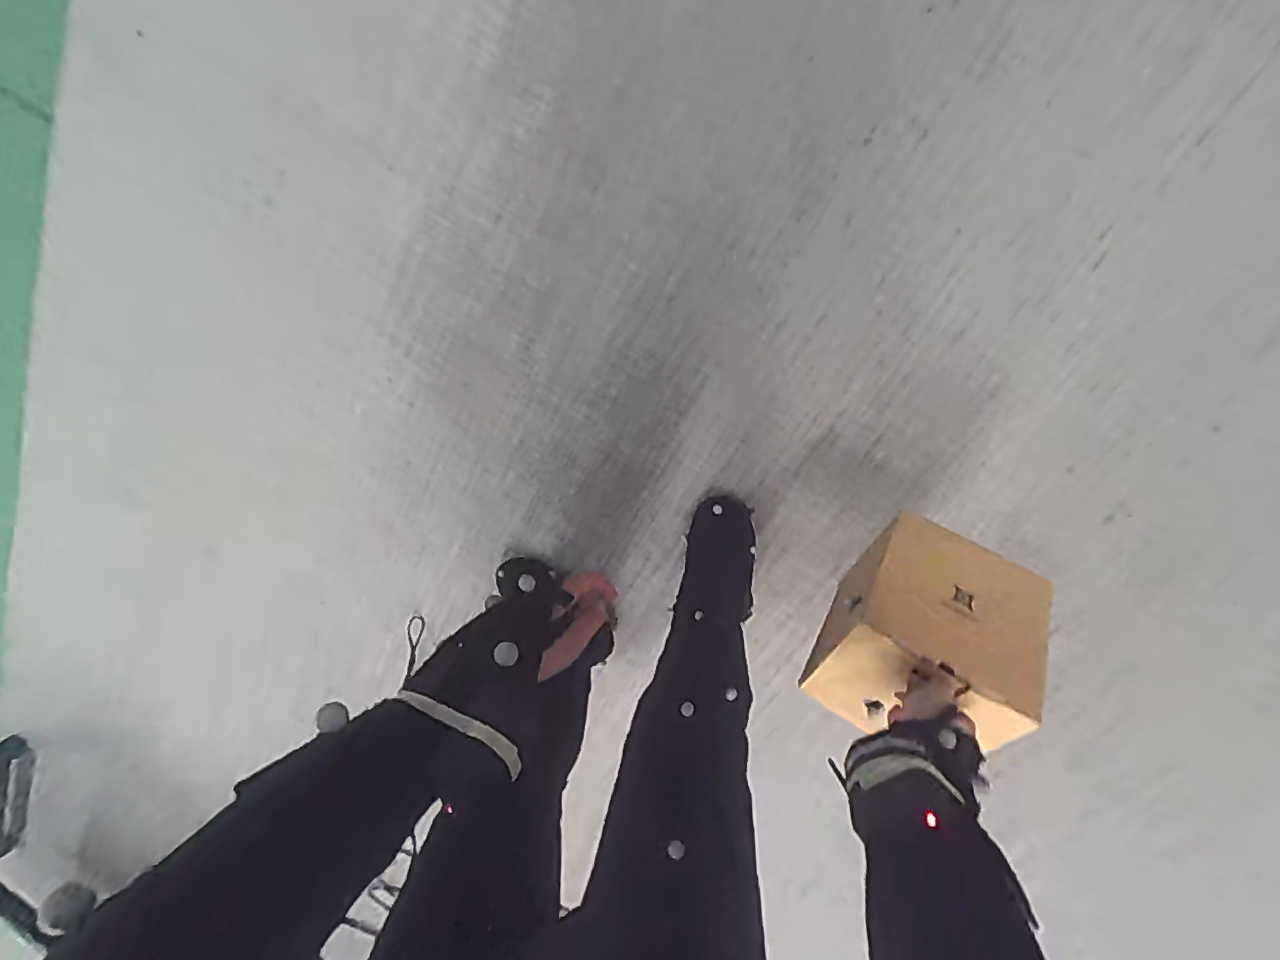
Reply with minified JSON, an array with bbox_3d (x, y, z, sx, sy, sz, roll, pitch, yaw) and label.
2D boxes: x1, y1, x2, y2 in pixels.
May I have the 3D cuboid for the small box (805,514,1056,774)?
[{"bbox_3d":[0.301,0.177,0.583,0.168,0.179,0.176,30,143,15],"label":"small box"}]
